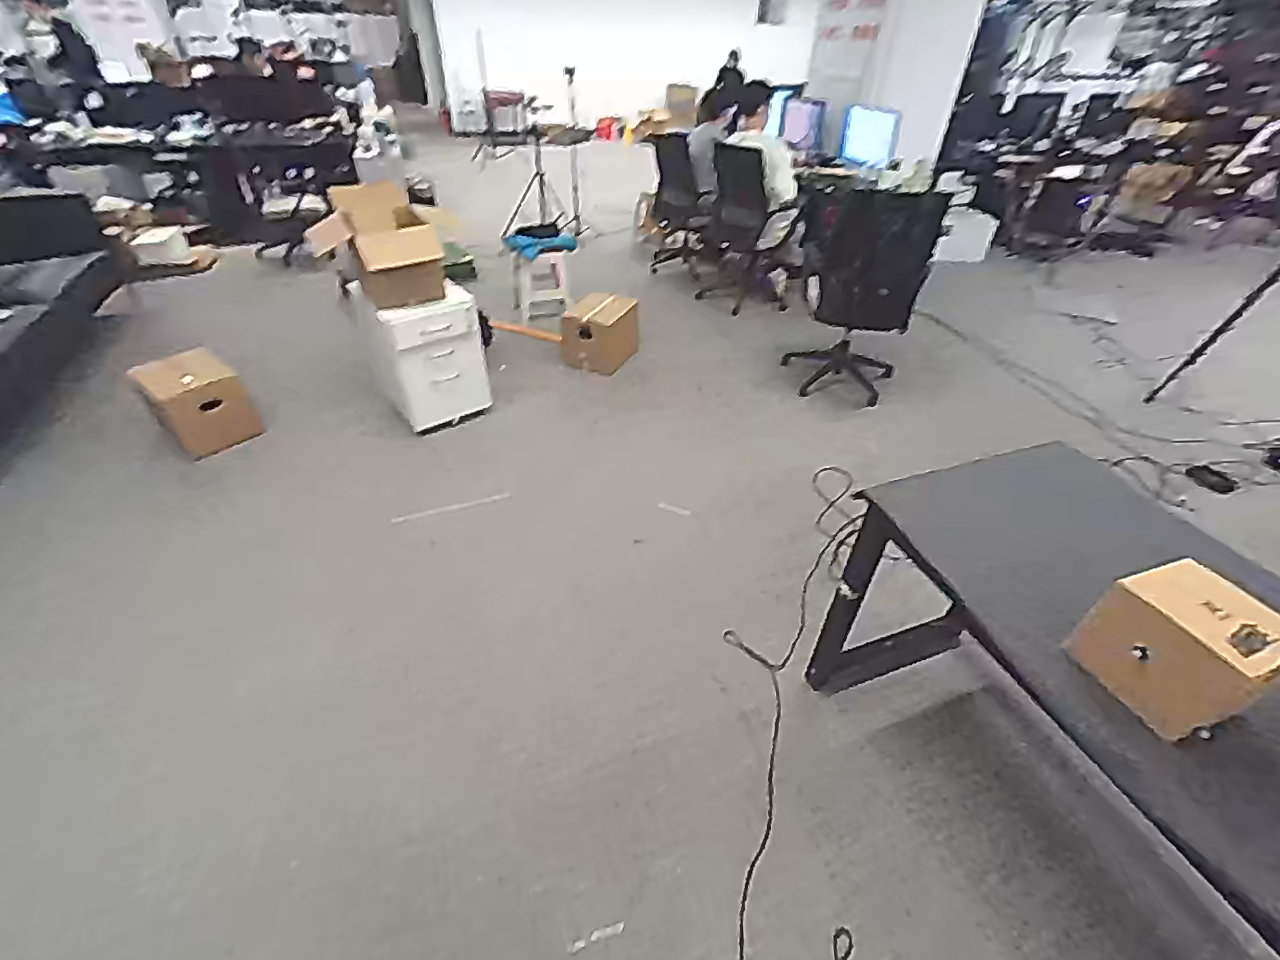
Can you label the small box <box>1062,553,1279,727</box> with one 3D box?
[{"bbox_3d":[0.800,0.241,0.808,0.168,0.176,0.179,-10,38,-17],"label":"small box"}]
